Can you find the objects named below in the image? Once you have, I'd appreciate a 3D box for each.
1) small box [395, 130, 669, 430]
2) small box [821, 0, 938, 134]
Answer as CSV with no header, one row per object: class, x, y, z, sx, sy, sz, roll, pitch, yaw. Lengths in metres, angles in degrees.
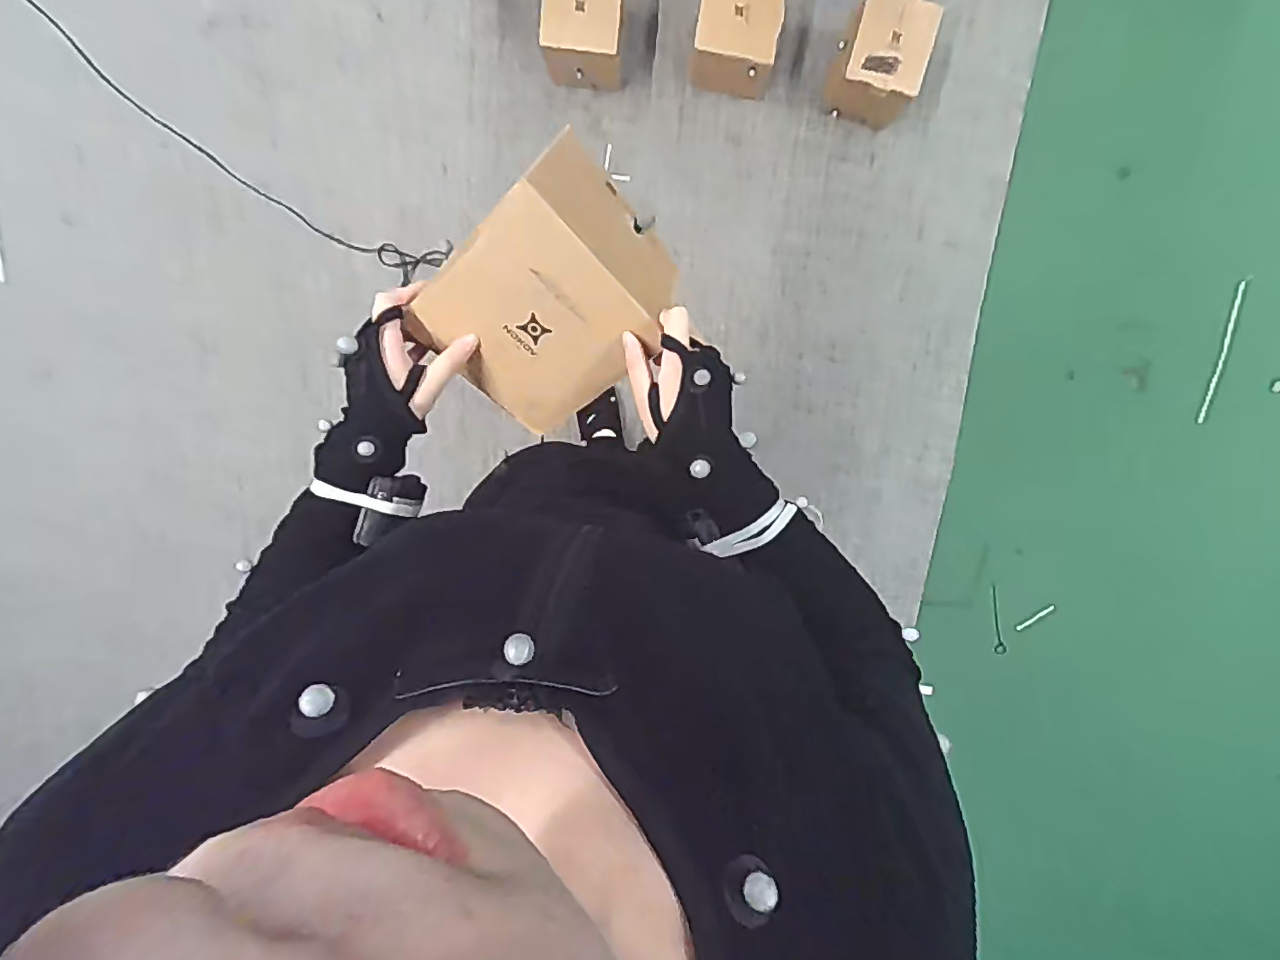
small box,-0.087,-0.187,0.516,0.179,0.176,0.168,-29,125,31
small box,0.528,-0.926,1.223,0.168,0.176,0.179,13,97,-4
